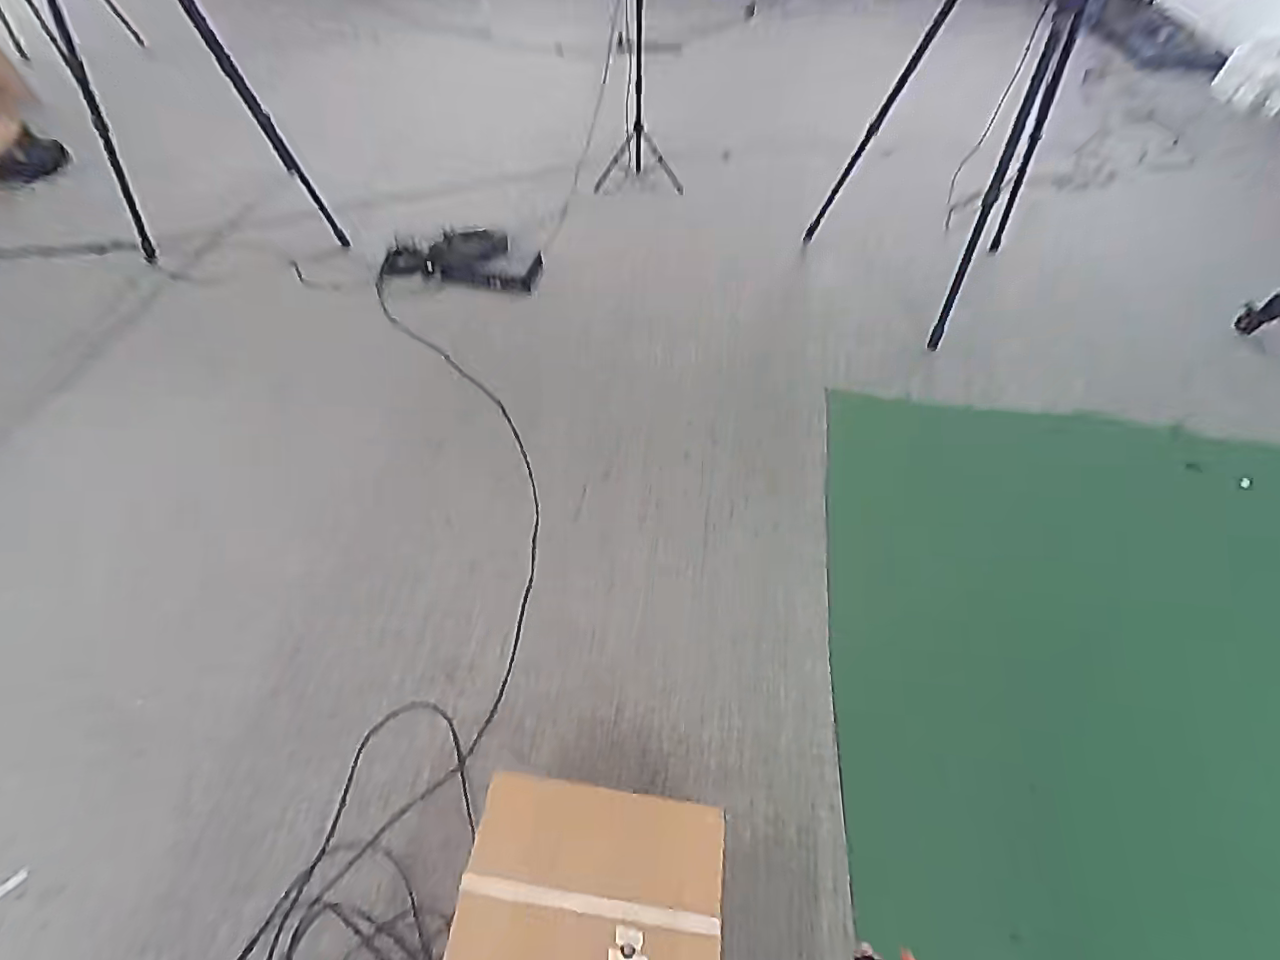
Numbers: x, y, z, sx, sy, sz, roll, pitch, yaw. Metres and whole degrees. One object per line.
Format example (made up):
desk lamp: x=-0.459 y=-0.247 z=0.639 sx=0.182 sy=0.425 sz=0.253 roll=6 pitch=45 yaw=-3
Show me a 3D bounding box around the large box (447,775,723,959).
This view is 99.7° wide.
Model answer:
large box: x=-0.082 y=0.747 z=0.953 sx=0.408 sy=0.320 sz=0.320 roll=8 pitch=53 yaw=3
